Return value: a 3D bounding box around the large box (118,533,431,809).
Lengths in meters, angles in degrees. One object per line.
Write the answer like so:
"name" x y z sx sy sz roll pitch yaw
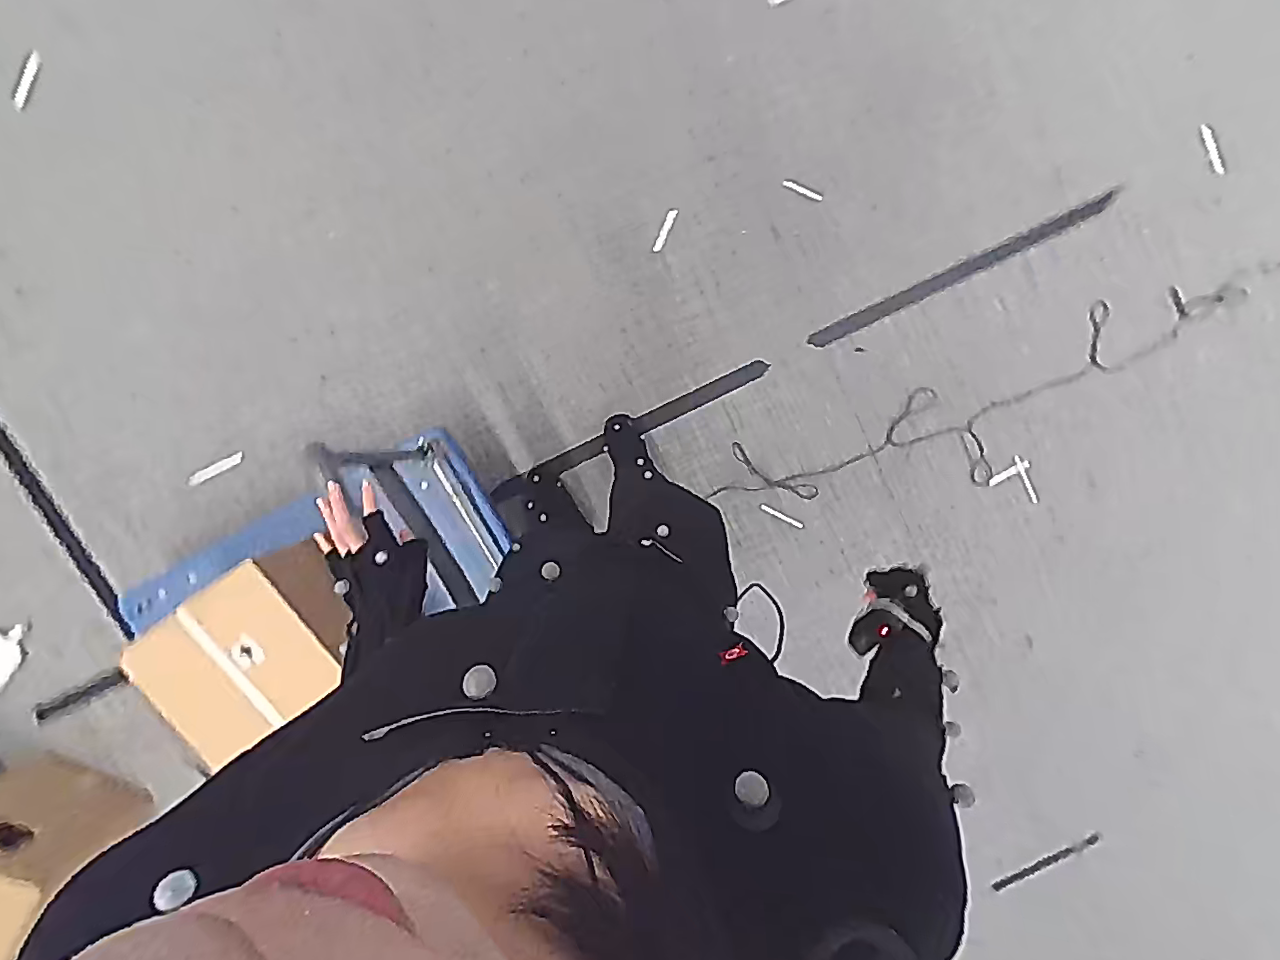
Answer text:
"large box" -0.738 0.380 1.168 0.320 0.320 0.408 -36 96 -1
